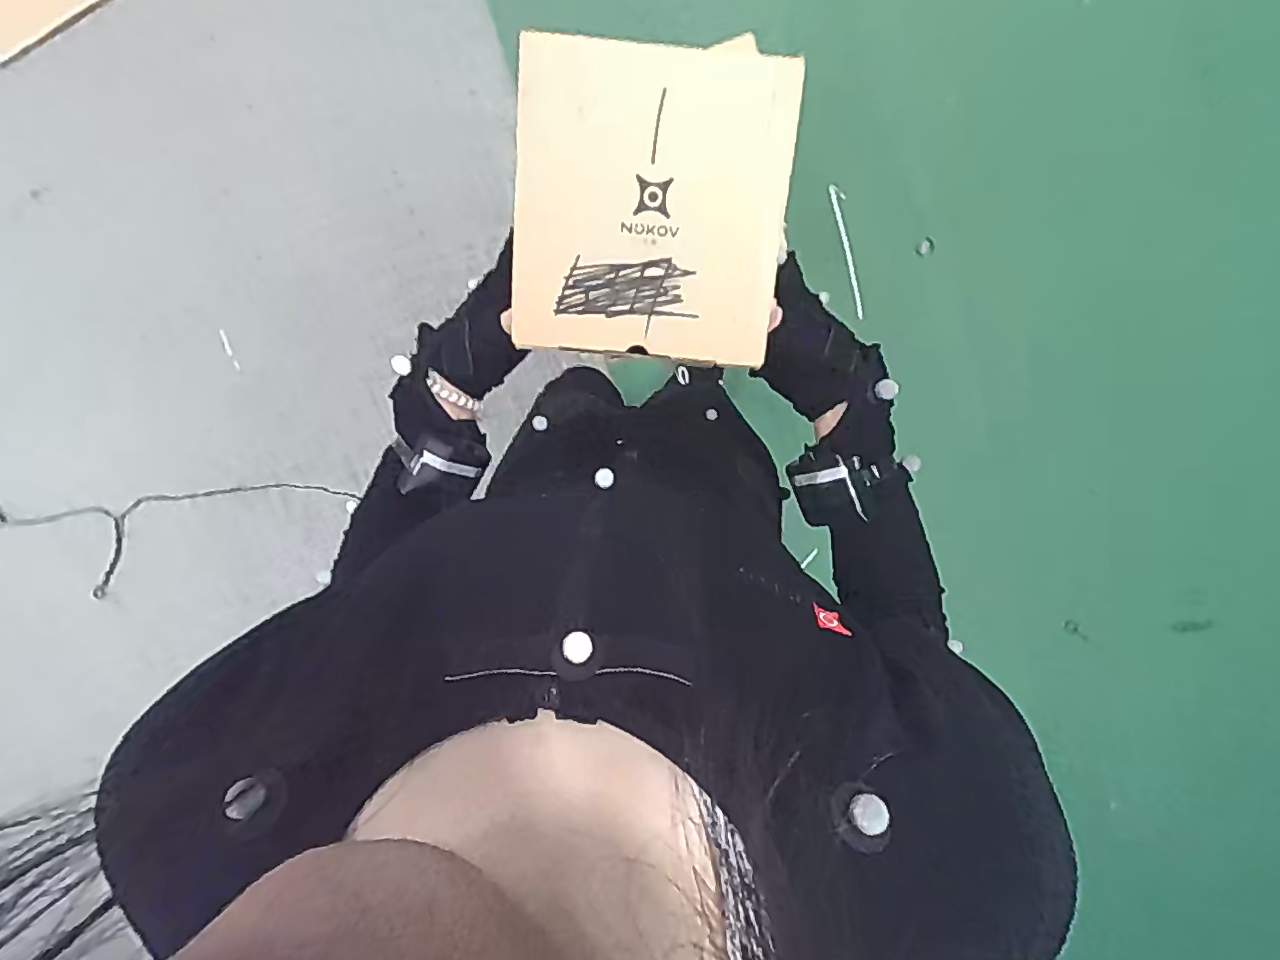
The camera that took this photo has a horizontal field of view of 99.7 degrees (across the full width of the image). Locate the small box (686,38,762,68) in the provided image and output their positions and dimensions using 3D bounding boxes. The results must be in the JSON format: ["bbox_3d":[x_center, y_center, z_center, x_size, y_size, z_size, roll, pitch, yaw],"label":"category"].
[{"bbox_3d":[0.156,-0.703,1.064,0.168,0.176,0.179,-15,101,8],"label":"small box"}]

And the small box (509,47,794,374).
[{"bbox_3d":[0.004,-0.181,0.412,0.168,0.176,0.179,5,104,0],"label":"small box"}]
